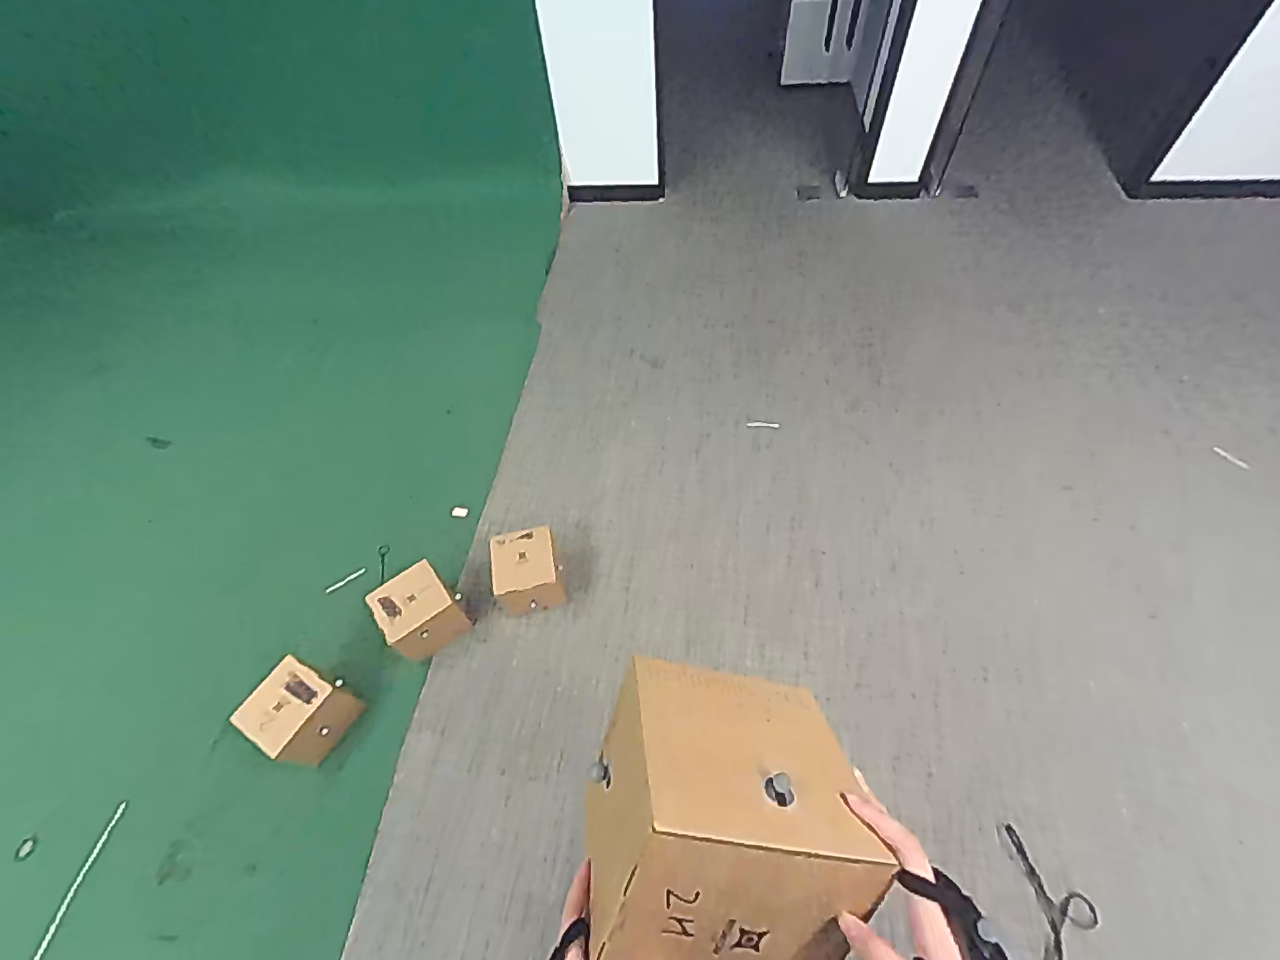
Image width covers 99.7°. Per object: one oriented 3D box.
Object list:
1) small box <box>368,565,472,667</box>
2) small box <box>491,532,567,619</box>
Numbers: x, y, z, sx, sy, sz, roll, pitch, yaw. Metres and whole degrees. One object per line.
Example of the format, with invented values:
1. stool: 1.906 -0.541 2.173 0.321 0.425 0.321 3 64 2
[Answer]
1. small box: -0.582 0.370 1.448 0.179 0.176 0.168 -34 59 -19
2. small box: -0.304 0.271 1.494 0.168 0.176 0.179 -12 55 -4
